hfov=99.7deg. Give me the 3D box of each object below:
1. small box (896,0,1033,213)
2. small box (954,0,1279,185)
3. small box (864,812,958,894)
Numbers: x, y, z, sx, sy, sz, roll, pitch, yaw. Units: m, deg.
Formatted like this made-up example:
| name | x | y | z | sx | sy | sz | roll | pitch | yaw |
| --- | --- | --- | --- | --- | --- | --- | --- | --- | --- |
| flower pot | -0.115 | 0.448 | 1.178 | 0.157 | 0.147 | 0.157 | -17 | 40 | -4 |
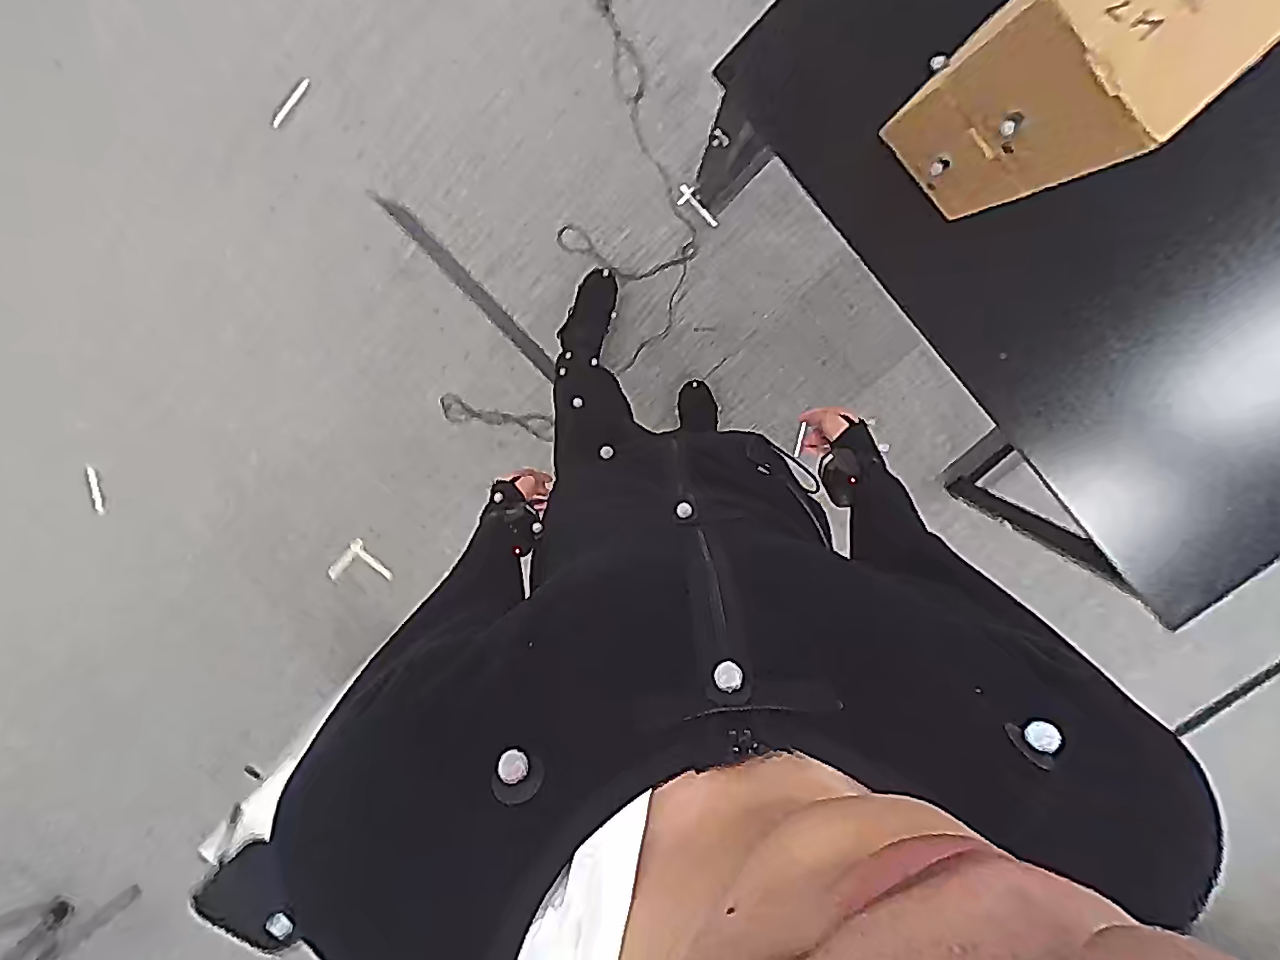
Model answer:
| name | x | y | z | sx | sy | sz | roll | pitch | yaw |
| --- | --- | --- | --- | --- | --- | --- | --- | --- | --- |
| small box | 0.449 | -0.466 | 0.669 | 0.168 | 0.176 | 0.179 | 43 | 102 | -10 |
| small box | 0.449 | -0.423 | 0.509 | 0.168 | 0.176 | 0.179 | 43 | 102 | -10 |
| small box | 0.851 | 1.205 | 1.716 | 0.179 | 0.176 | 0.168 | -43 | 101 | 13 |
